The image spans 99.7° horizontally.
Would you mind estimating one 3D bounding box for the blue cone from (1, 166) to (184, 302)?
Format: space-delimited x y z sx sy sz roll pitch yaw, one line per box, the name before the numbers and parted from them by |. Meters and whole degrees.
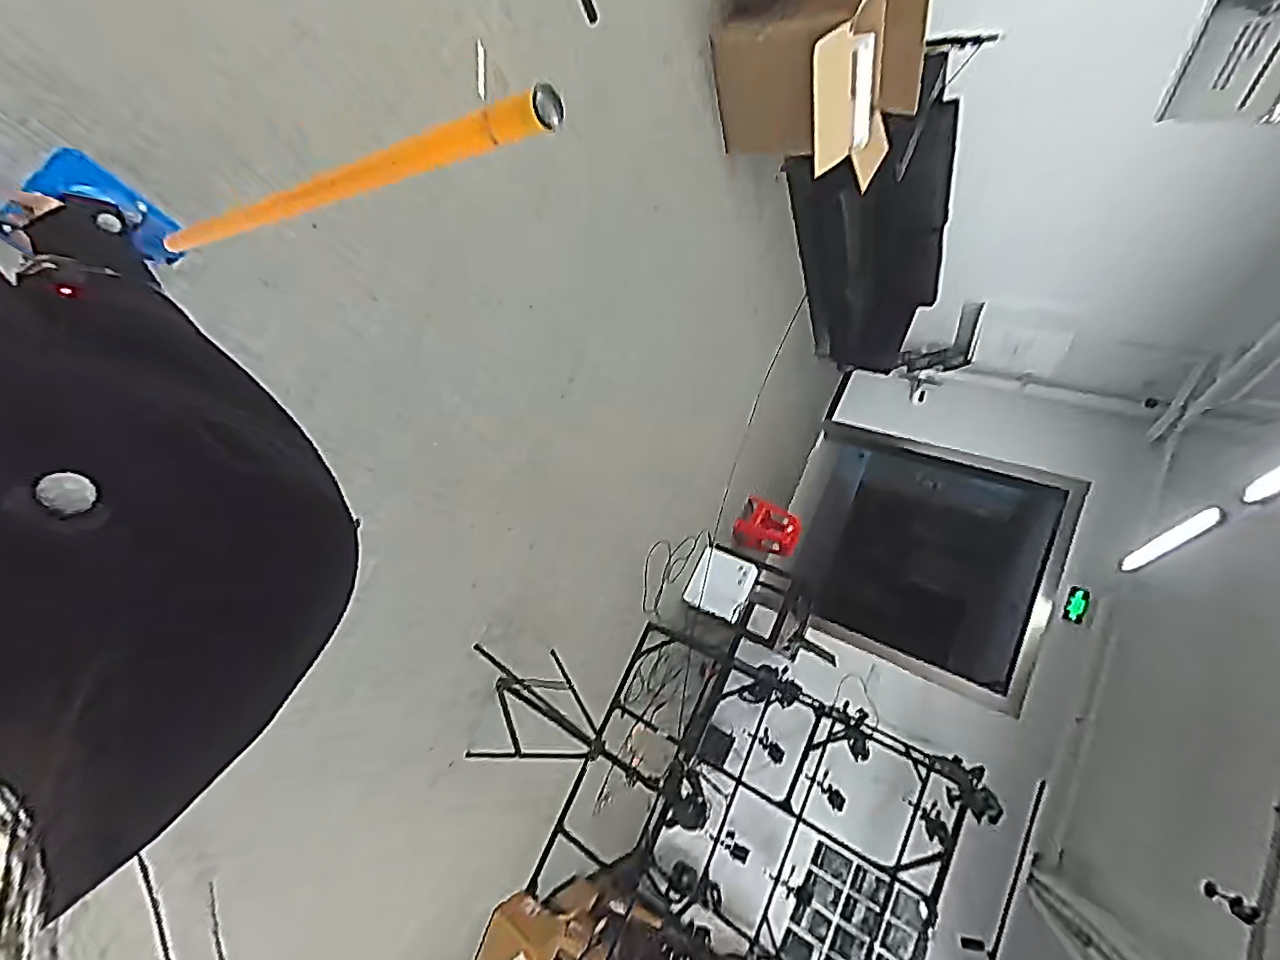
blue cone | -0.872 -0.401 0.923 0.192 0.380 0.193 -62 150 -14
